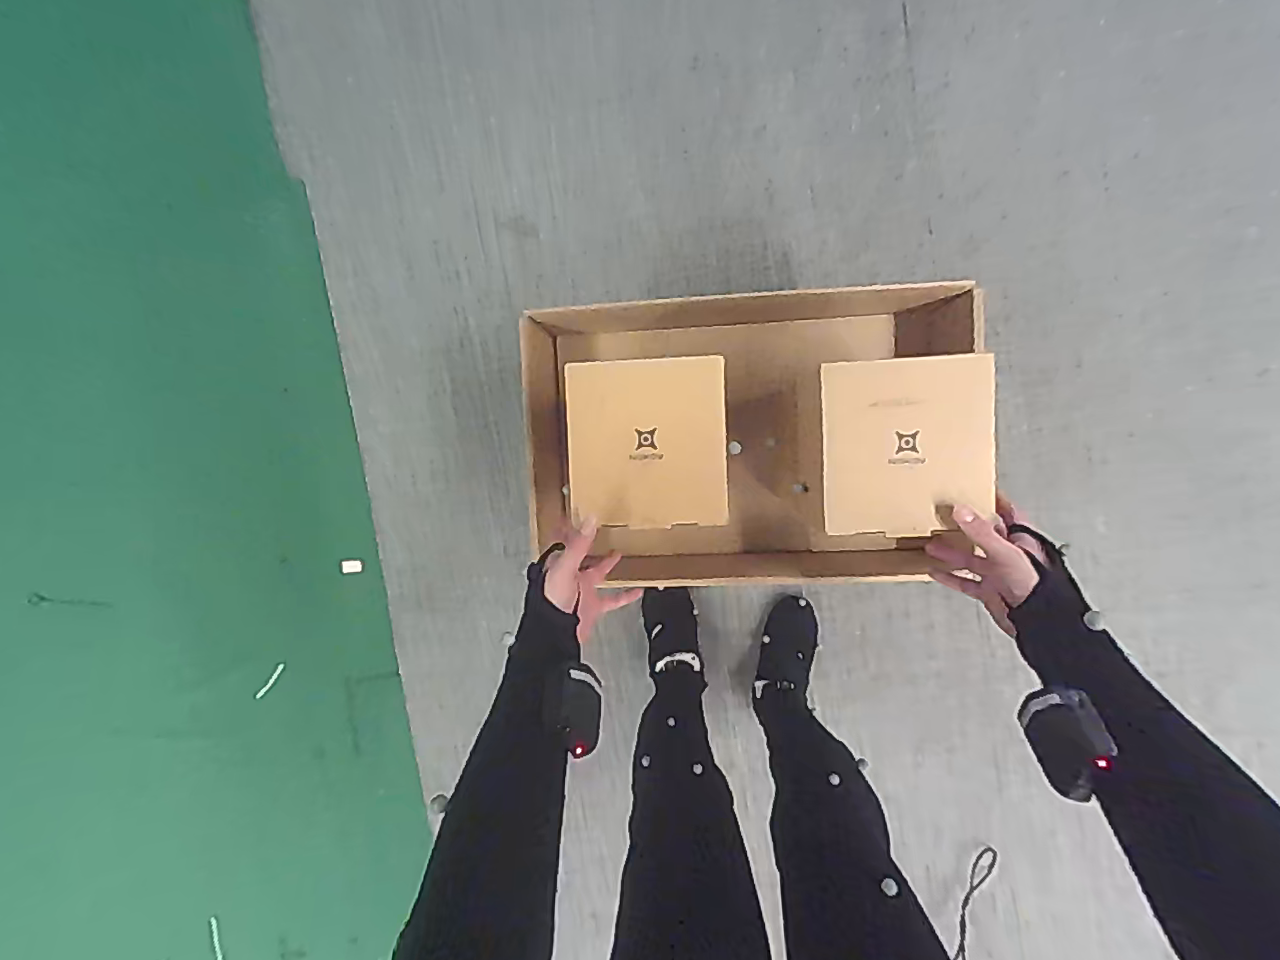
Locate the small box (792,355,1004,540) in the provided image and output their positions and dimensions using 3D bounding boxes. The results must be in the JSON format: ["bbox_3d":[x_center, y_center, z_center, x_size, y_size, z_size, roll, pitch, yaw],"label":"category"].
[{"bbox_3d":[0.268,-0.035,0.599,0.168,0.176,0.179,-2,93,5],"label":"small box"}]

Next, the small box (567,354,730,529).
[{"bbox_3d":[0.013,-0.042,0.626,0.168,0.176,0.179,-2,94,5],"label":"small box"}]
